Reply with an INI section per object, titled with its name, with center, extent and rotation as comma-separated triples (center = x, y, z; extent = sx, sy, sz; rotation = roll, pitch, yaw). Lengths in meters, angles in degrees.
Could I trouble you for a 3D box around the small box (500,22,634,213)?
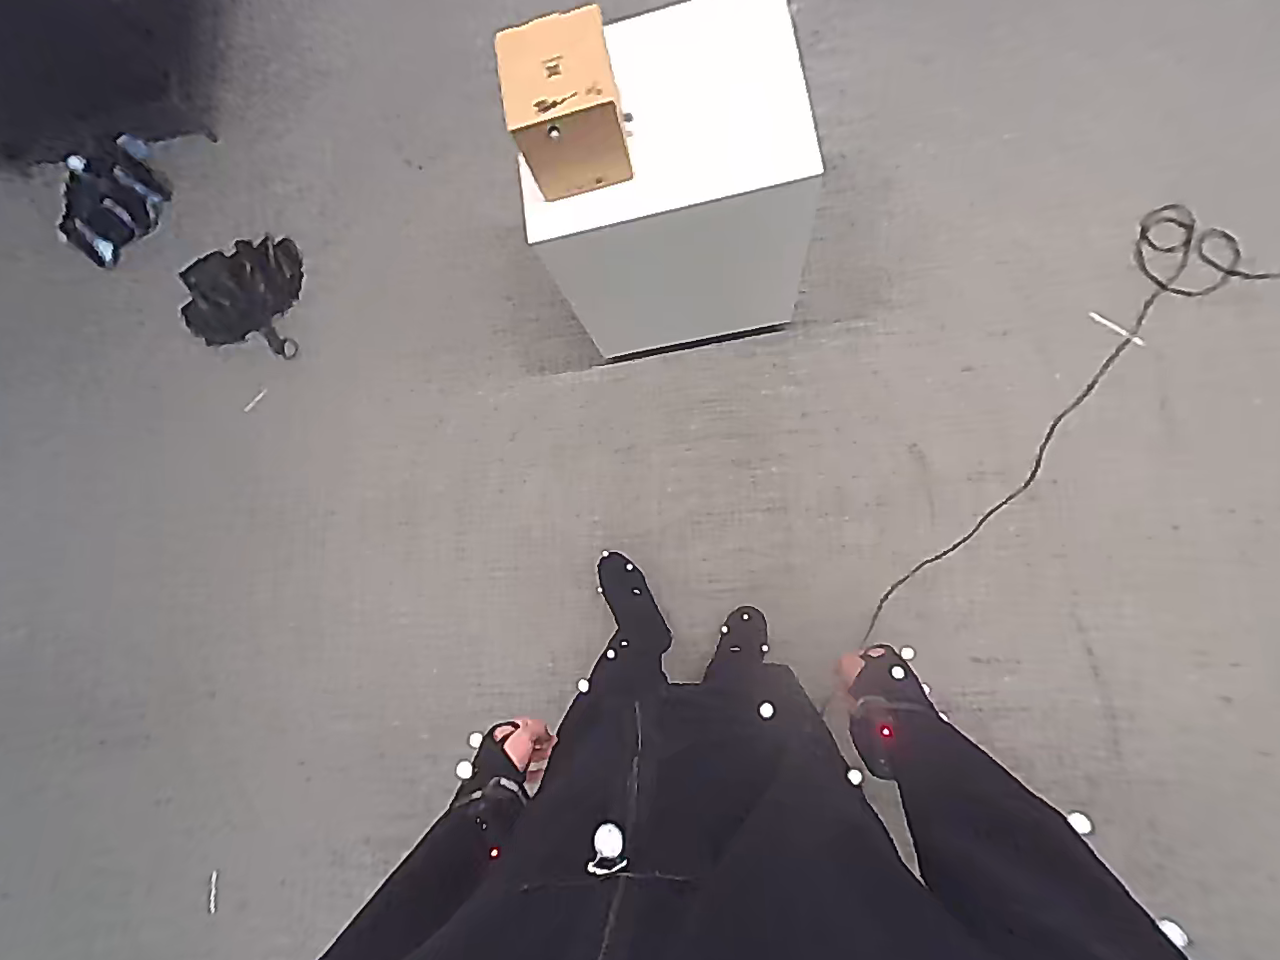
[small box]
center = -0.113, -0.584, 0.890
extent = 0.168, 0.176, 0.179
rotation = -11, 78, 9
